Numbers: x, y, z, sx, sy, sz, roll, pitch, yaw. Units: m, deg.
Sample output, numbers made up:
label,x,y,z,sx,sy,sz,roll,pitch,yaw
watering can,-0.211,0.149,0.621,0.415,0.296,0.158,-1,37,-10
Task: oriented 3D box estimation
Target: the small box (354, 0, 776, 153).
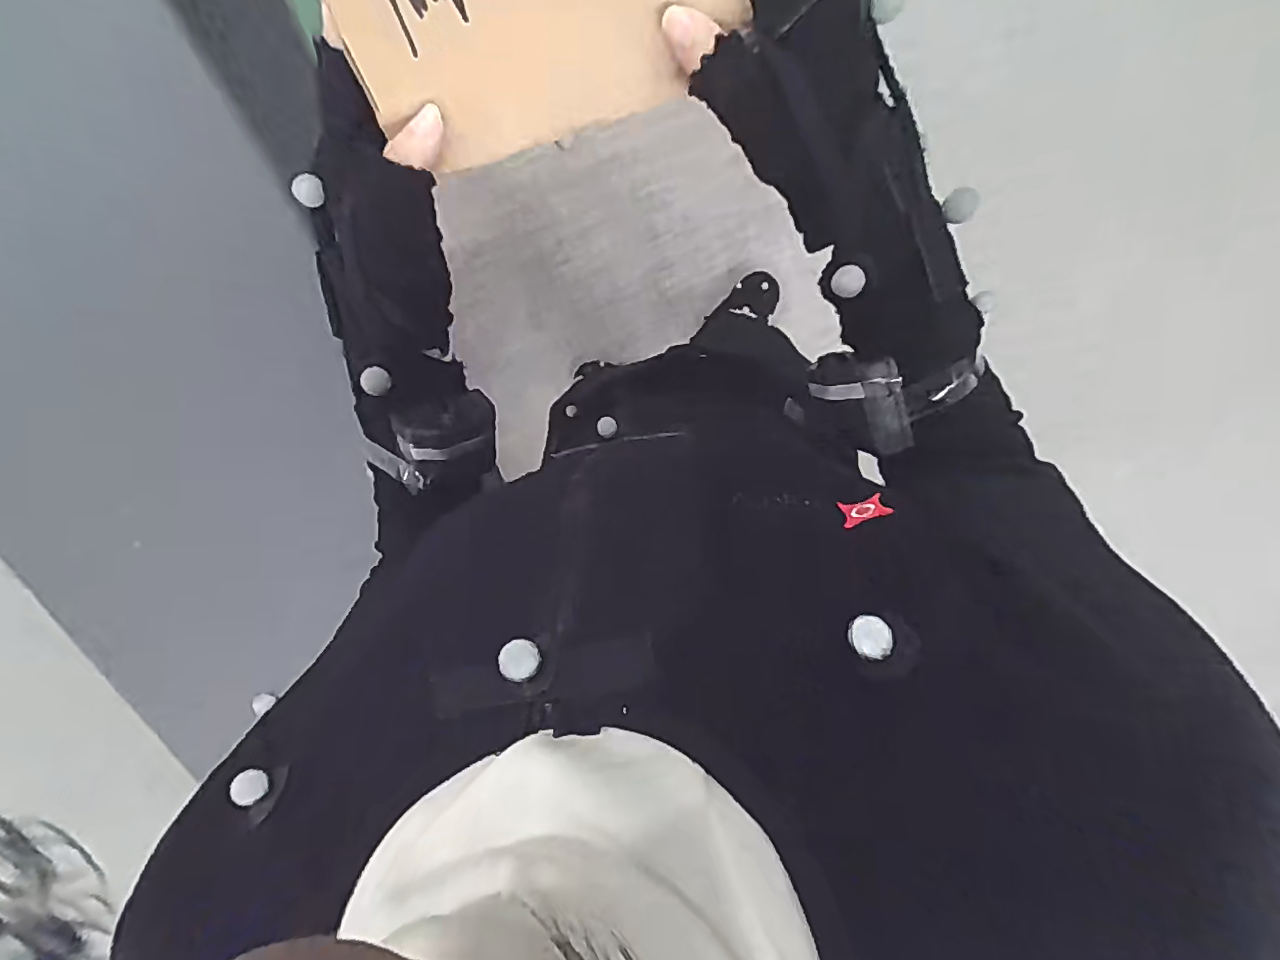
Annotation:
label,x,y,z,sx,sy,sz,roll,pitch,yaw
small box,-0.043,-0.287,0.257,0.179,0.176,0.168,-12,134,7
